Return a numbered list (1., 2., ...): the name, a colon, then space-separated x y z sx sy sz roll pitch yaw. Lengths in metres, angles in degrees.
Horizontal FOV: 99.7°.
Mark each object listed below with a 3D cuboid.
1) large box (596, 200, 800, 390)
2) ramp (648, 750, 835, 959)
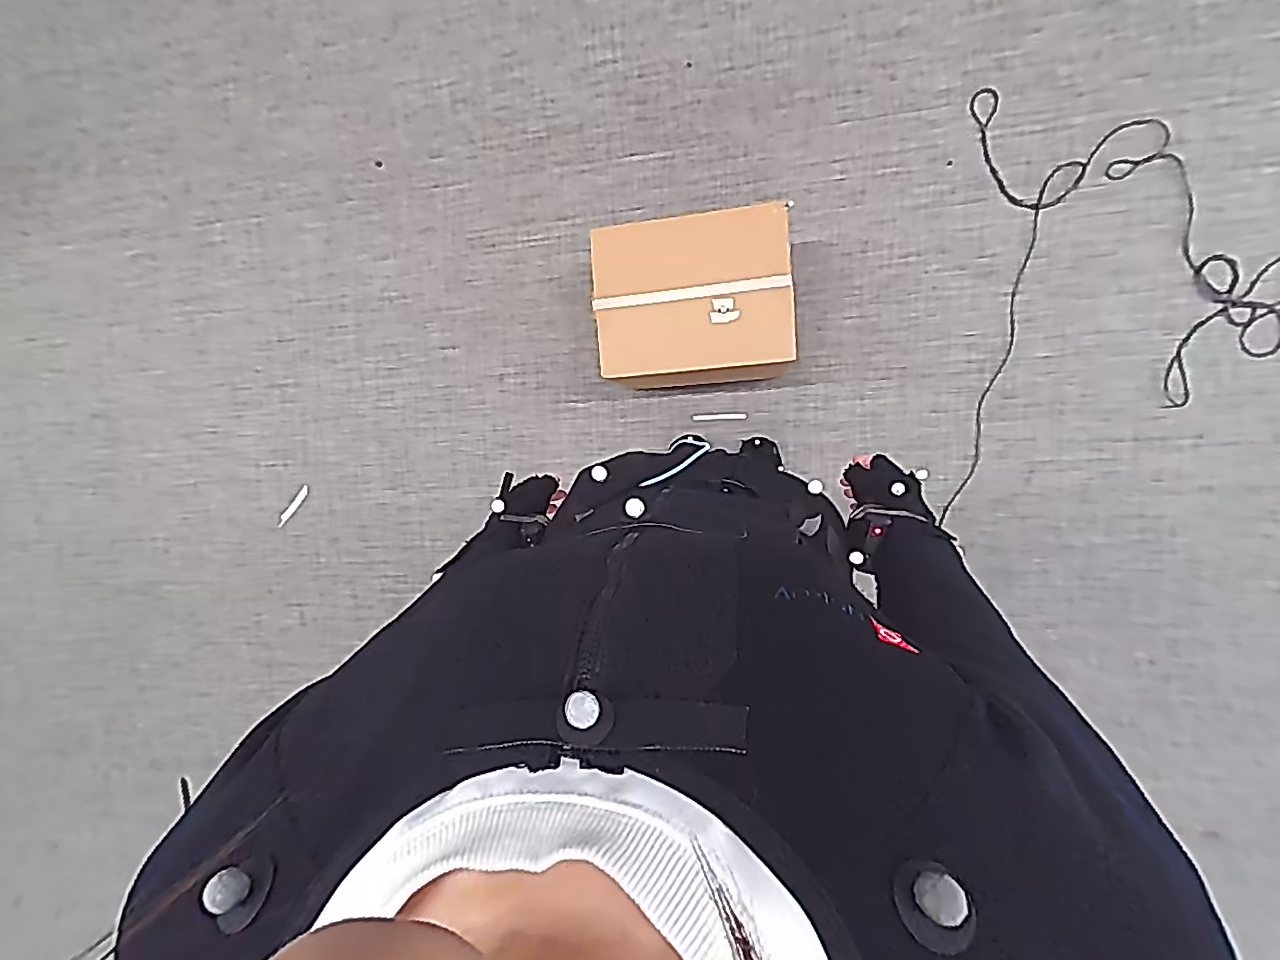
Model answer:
1. large box: 0.139 -0.396 1.256 0.408 0.320 0.320 -4 94 10
2. ramp: 0.260 1.256 1.431 0.509 0.206 0.991 -1 94 12
